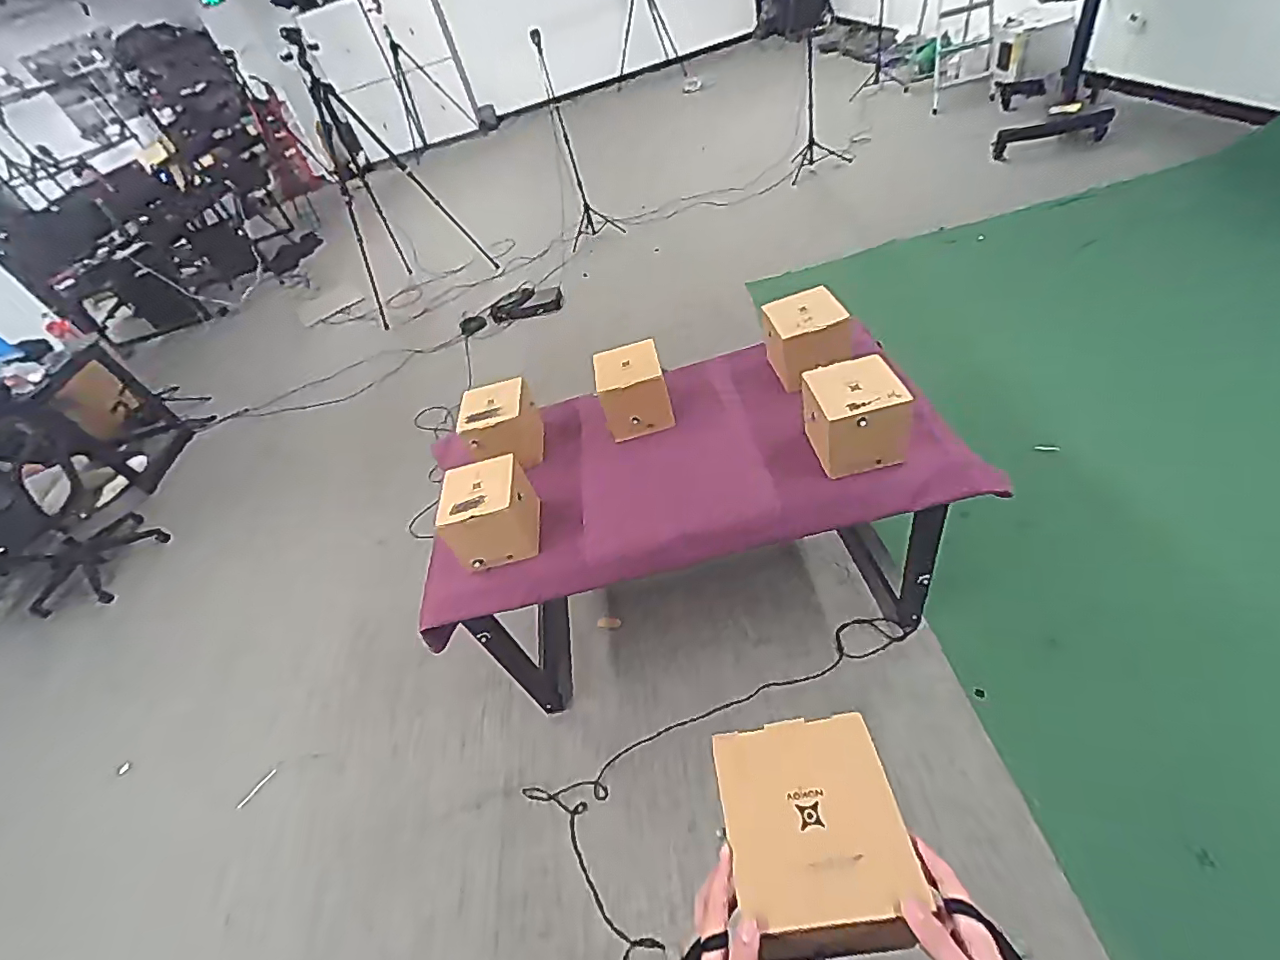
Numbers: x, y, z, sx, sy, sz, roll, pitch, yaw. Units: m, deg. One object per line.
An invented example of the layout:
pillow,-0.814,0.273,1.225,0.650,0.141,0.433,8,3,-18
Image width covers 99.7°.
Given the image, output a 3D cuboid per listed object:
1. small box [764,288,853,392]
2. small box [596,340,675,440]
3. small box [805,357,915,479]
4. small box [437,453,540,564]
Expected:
small box,0.426,-0.353,1.377,0.168,0.176,0.179,-17,45,6
small box,-0.011,-0.232,1.412,0.168,0.176,0.179,-14,45,4
small box,0.458,-0.130,1.150,0.168,0.176,0.179,-14,42,7
small box,-0.330,0.072,1.216,0.168,0.176,0.179,-14,44,4
